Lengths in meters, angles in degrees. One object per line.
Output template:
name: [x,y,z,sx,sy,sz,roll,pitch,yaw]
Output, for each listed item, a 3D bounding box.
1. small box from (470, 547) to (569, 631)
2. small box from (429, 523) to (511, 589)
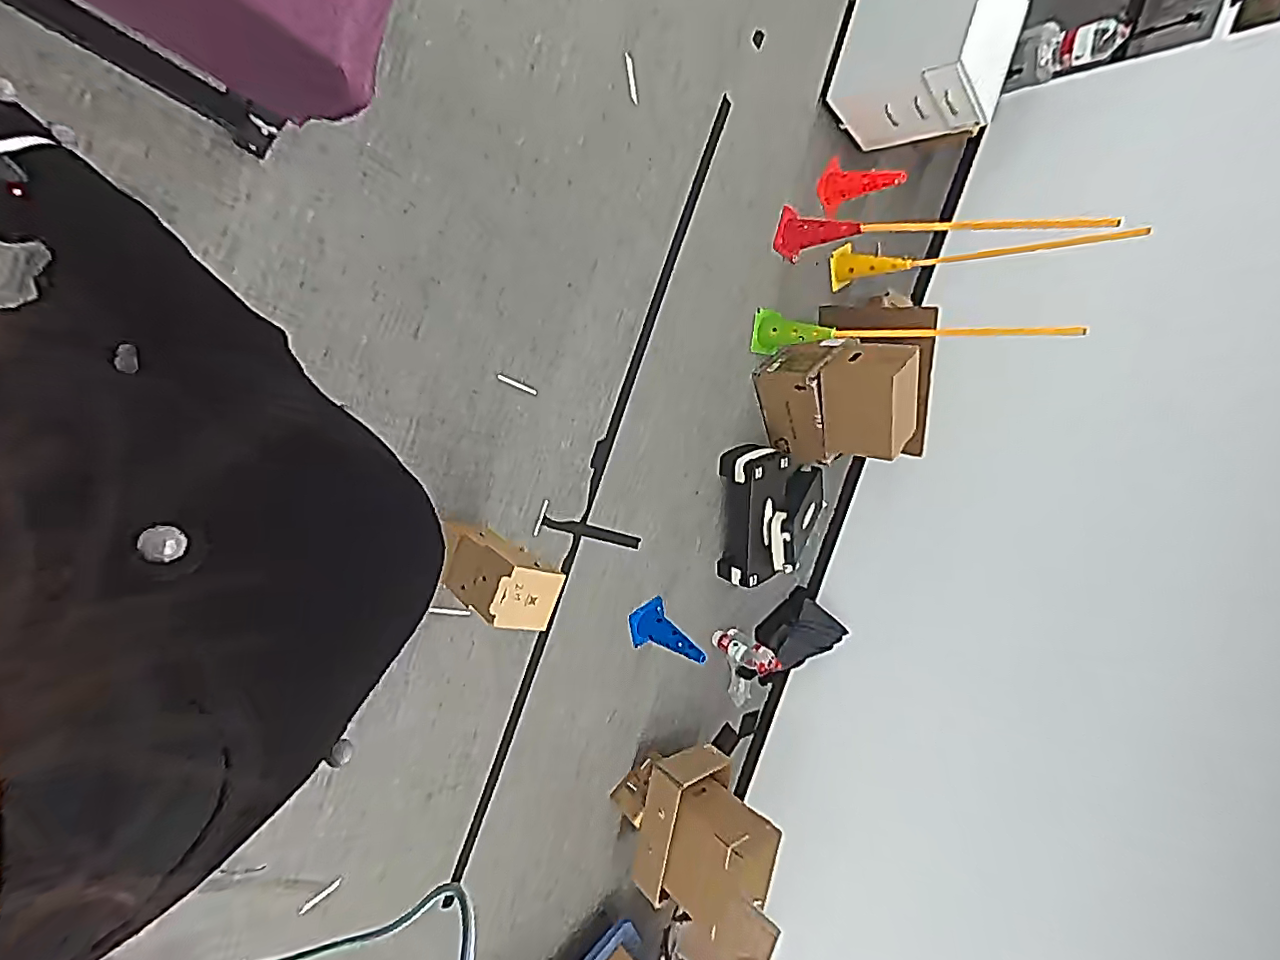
small box: [-0.332,0.296,1.481,0.179,0.176,0.168,21,90,-43]
small box: [-0.548,0.243,1.727,0.179,0.176,0.168,14,94,-44]
